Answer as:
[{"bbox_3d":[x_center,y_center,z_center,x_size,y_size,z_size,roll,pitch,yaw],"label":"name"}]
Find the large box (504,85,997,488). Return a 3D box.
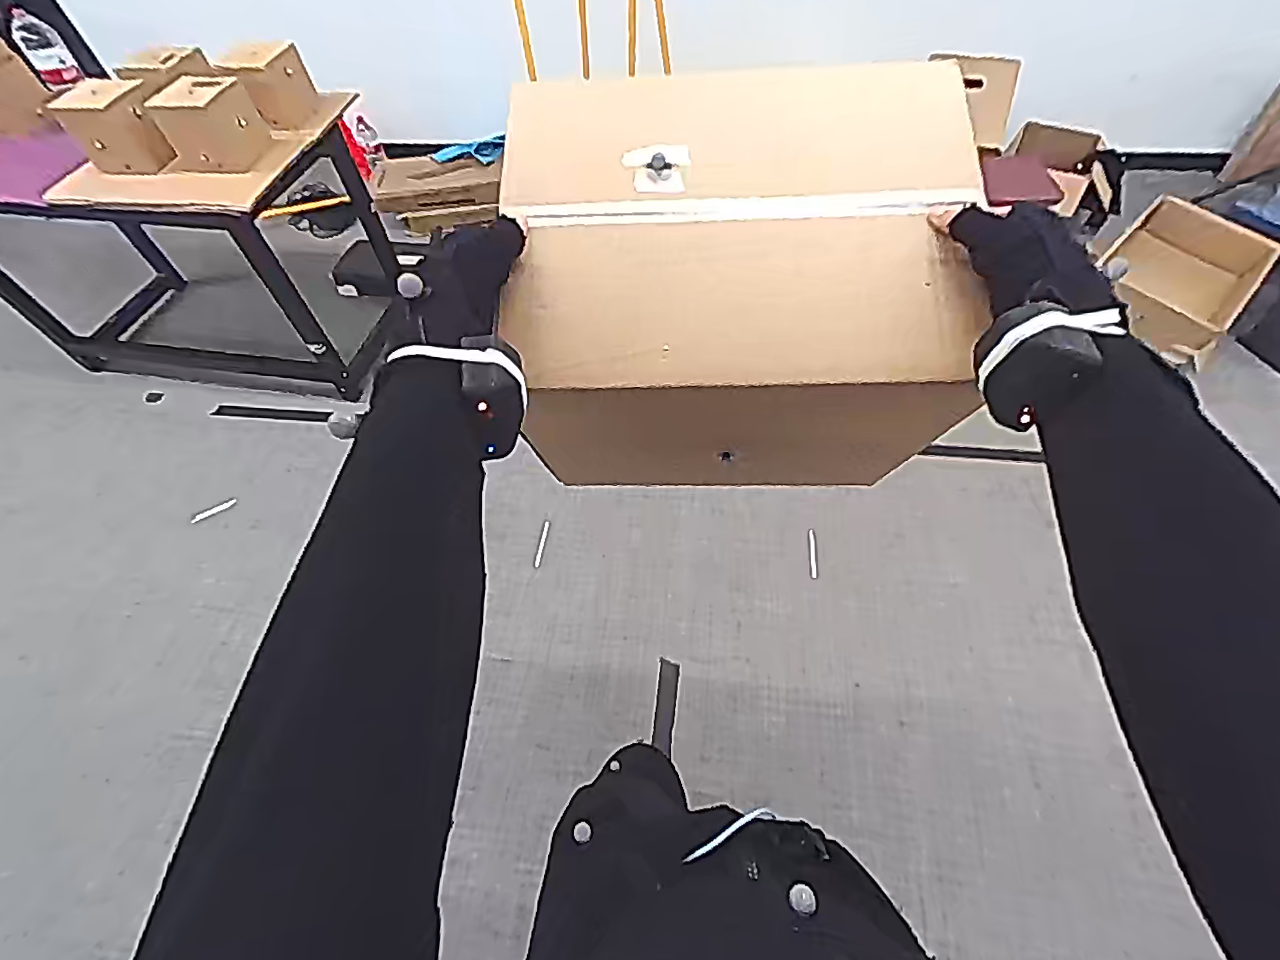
[{"bbox_3d":[0.096,-0.176,0.618,0.408,0.320,0.320,-1,74,4],"label":"large box"}]
